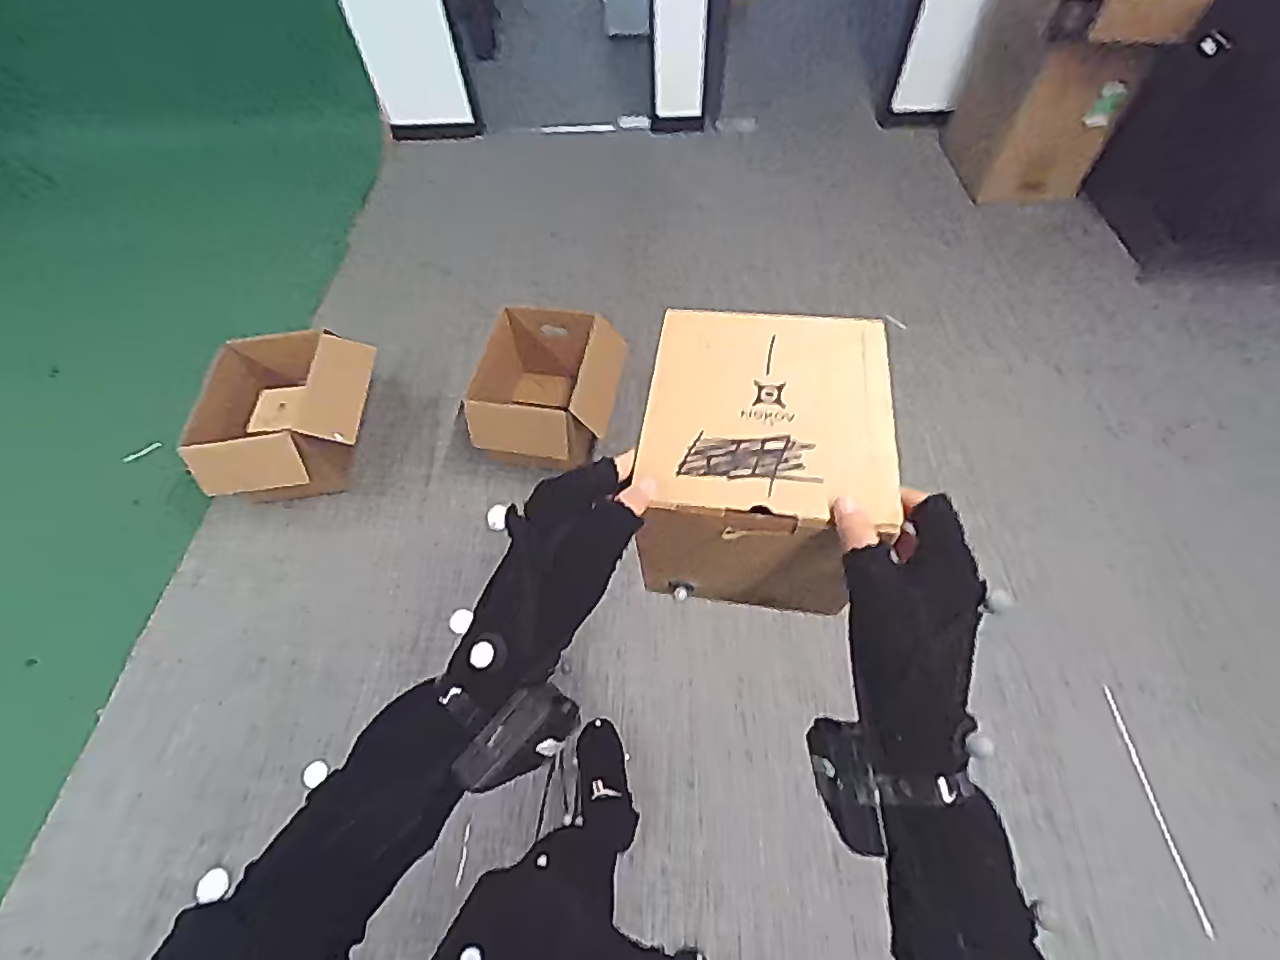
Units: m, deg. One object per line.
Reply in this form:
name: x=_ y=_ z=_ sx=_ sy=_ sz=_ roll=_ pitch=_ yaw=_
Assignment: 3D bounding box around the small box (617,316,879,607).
small box: x=0.085 y=-0.009 z=0.446 sx=0.168 sy=0.176 sz=0.179 roll=5 pitch=58 yaw=9
